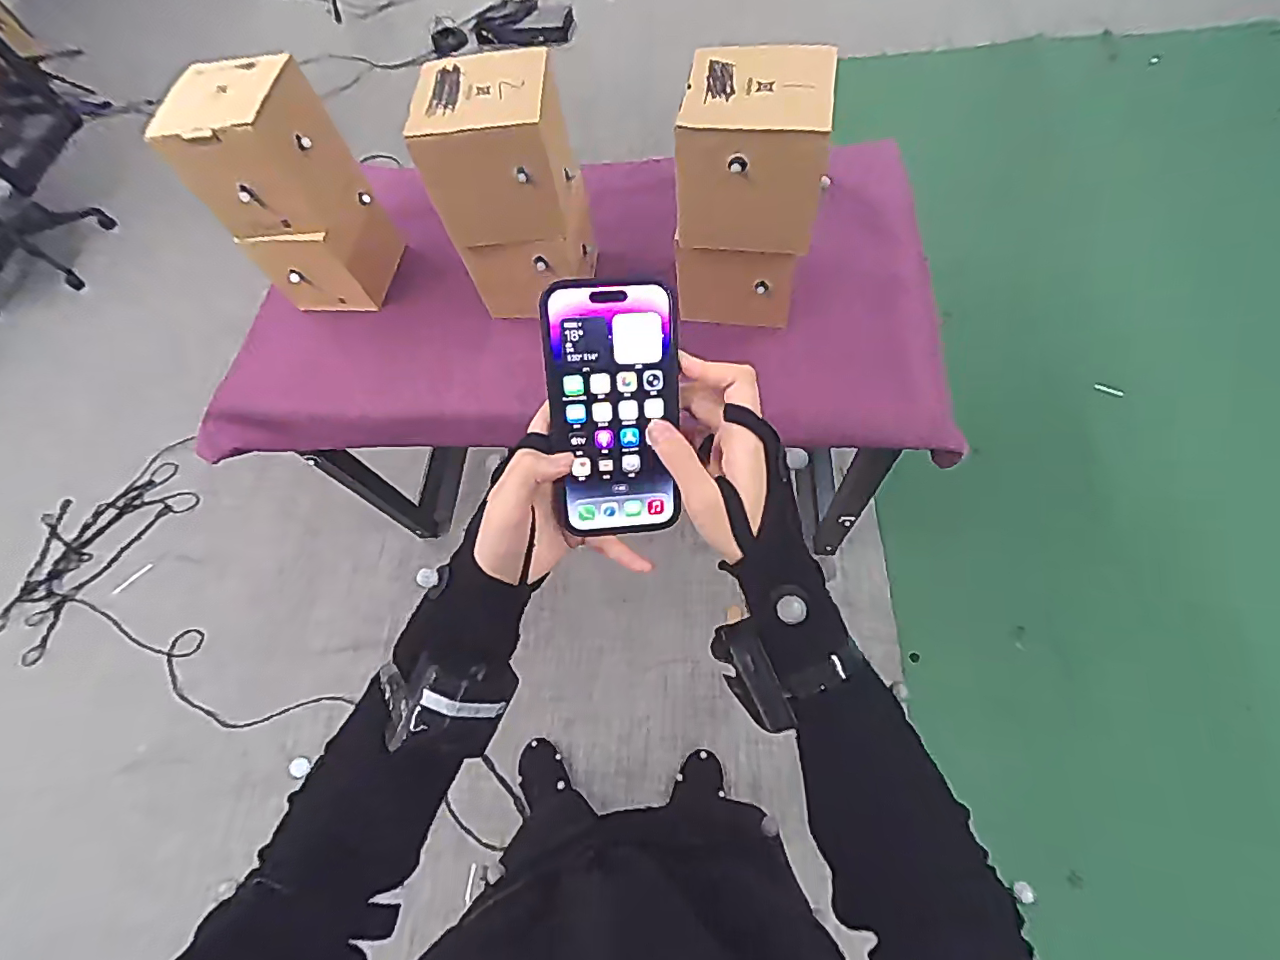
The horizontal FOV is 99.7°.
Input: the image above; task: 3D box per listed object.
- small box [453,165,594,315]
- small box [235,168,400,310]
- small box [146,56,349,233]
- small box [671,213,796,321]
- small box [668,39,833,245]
[{"bbox_3d":[-0.182,-0.396,0.911,0.179,0.176,0.168,2,64,9],"label":"small box"},{"bbox_3d":[-0.566,-0.426,0.979,0.168,0.176,0.179,2,65,9],"label":"small box"},{"bbox_3d":[-0.585,-0.505,0.836,0.168,0.176,0.179,-2,65,6],"label":"small box"},{"bbox_3d":[0.154,-0.372,0.856,0.179,0.176,0.168,7,65,12],"label":"small box"},{"bbox_3d":[0.141,-0.429,0.702,0.179,0.176,0.168,7,65,11],"label":"small box"}]
